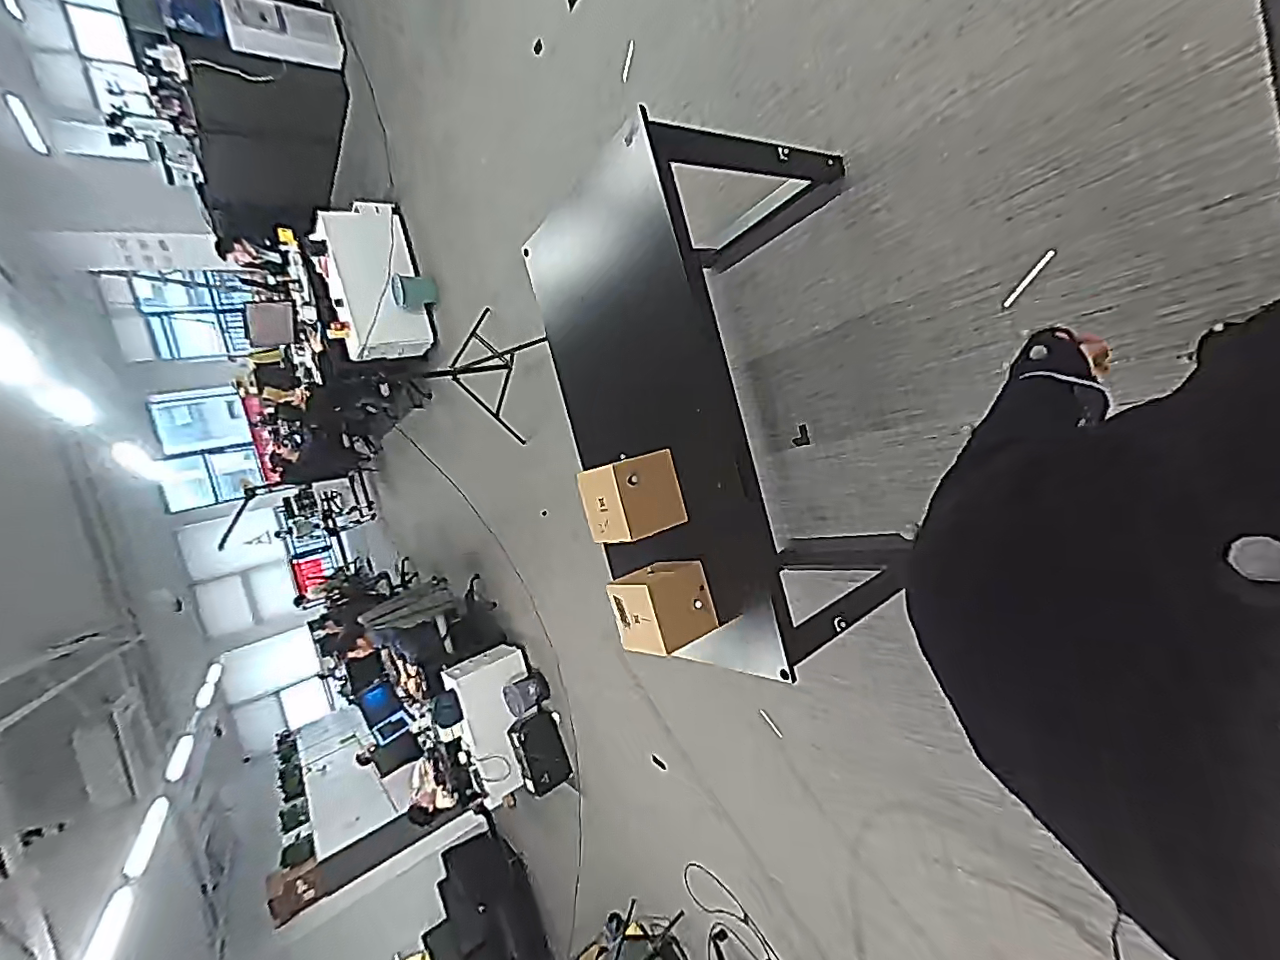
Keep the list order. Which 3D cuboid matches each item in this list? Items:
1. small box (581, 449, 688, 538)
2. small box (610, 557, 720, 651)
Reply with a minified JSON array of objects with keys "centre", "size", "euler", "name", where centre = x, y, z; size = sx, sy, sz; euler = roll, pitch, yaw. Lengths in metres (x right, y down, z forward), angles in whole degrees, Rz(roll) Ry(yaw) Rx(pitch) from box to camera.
[{"centre":[-0.012,0.030,1.278],"size":[0.168,0.176,0.179],"euler":[-12,94,56],"name":"small box"},{"centre":[0.060,0.287,1.288],"size":[0.179,0.176,0.168],"euler":[-15,92,54],"name":"small box"}]
